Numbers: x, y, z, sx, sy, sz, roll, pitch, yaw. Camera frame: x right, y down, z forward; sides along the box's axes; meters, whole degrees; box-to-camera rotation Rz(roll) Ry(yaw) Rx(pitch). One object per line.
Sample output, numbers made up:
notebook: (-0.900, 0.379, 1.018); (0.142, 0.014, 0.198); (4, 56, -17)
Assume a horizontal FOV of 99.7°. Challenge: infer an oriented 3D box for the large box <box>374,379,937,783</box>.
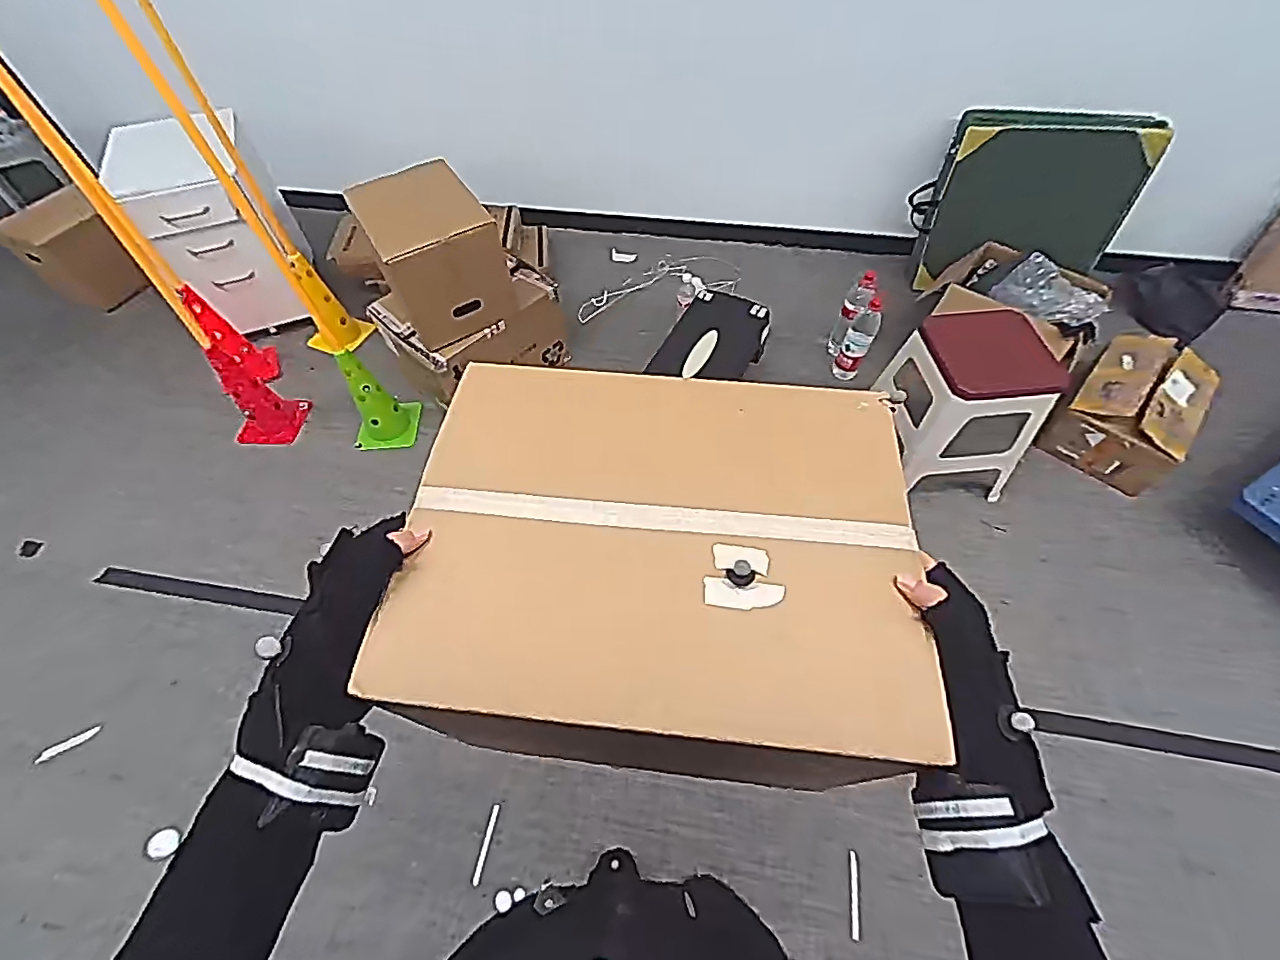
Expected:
large box: (0.019, 0.119, 0.579); (0.408, 0.320, 0.320); (5, 58, 4)
